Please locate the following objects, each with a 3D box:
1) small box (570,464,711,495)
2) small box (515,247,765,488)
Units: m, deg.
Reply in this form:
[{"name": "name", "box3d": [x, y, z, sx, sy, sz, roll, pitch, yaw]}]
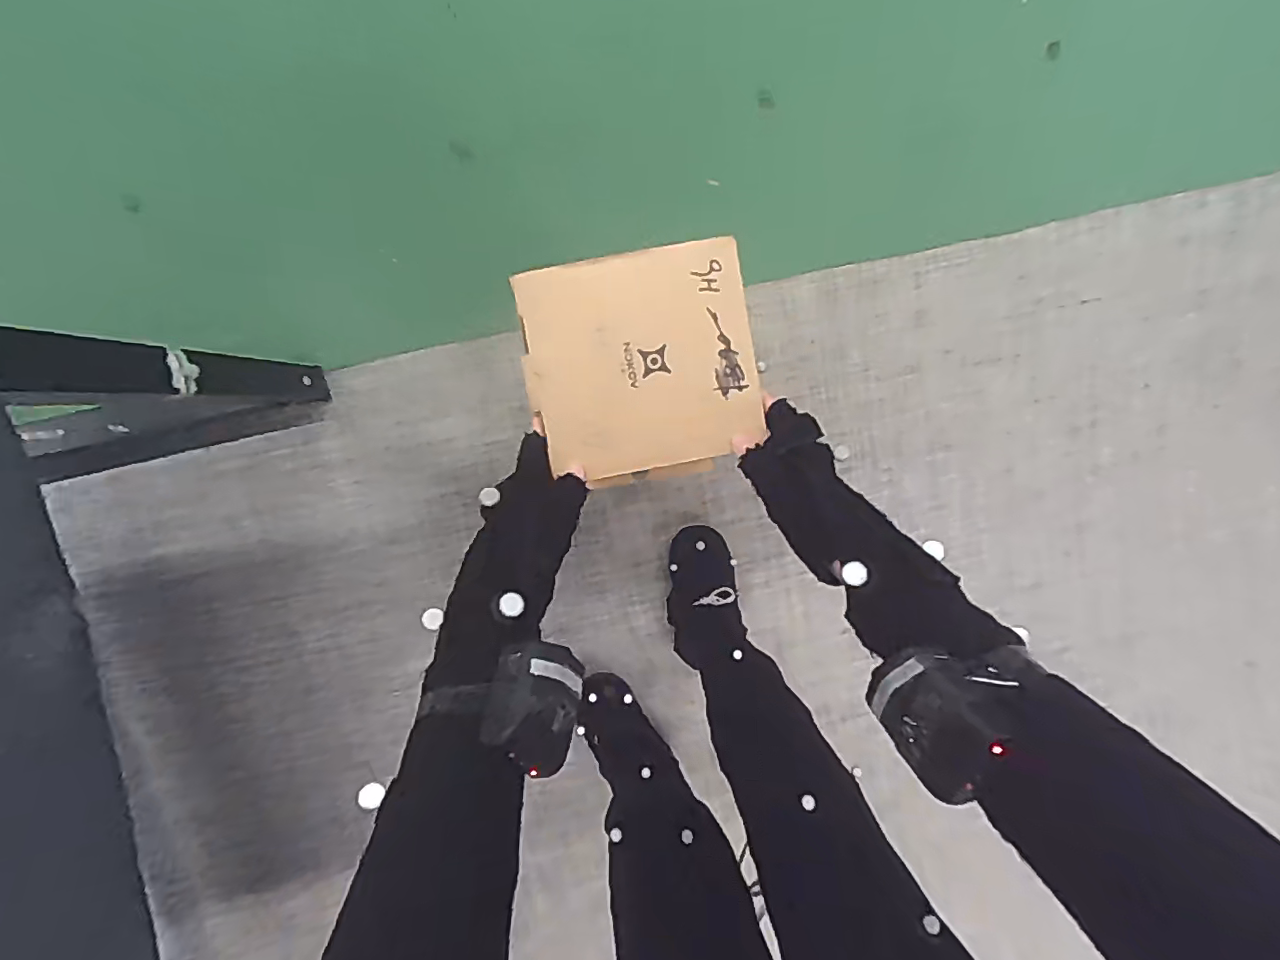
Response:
[{"name": "small box", "box3d": [-0.014, -0.087, 0.685, 0.168, 0.176, 0.179, -8, 99, -2]}, {"name": "small box", "box3d": [0.000, -0.092, 0.500, 0.179, 0.176, 0.168, -10, 95, -1]}]
